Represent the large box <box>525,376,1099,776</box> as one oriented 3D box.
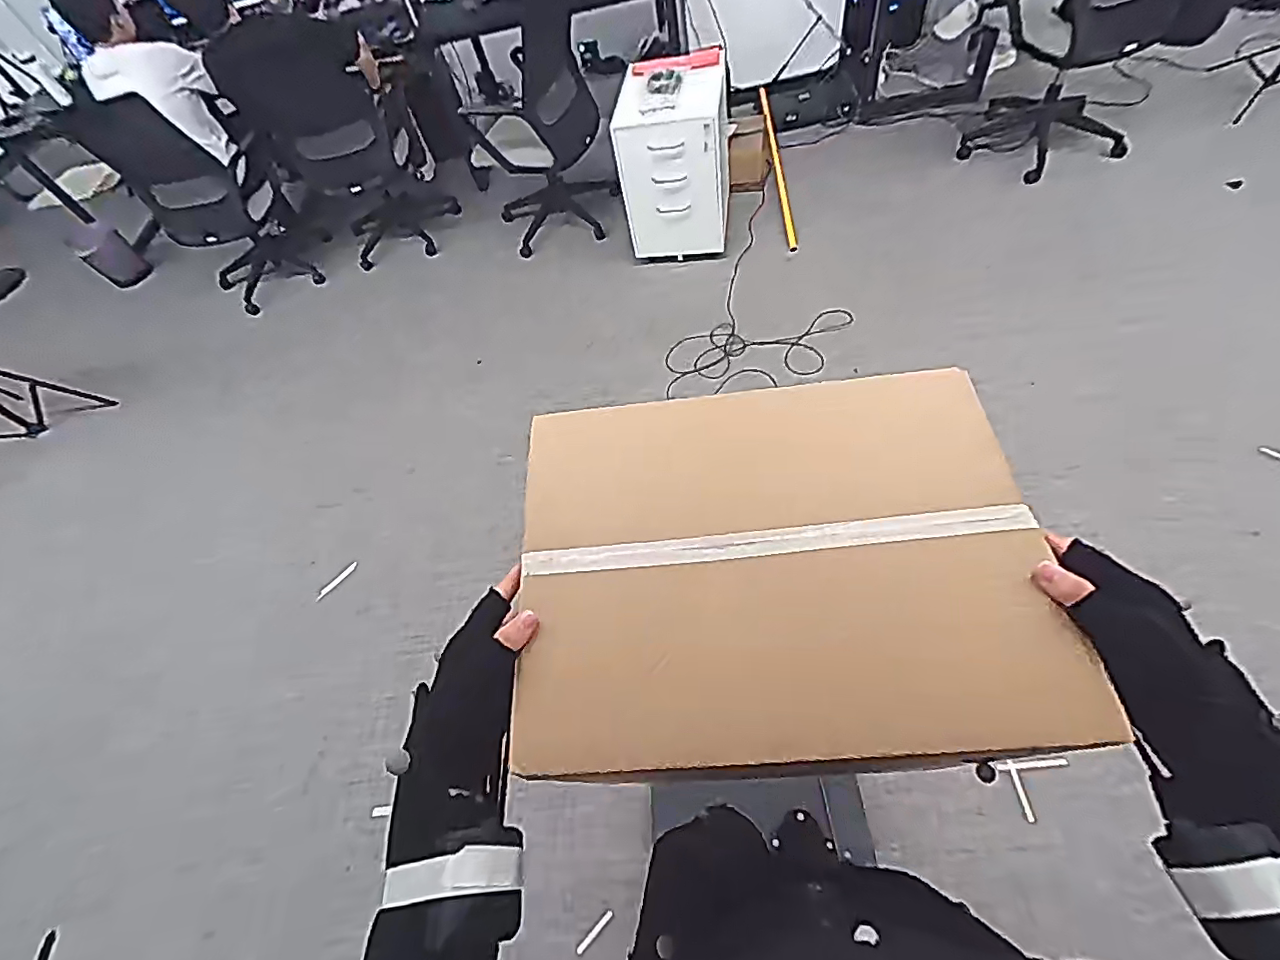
[{"bbox_3d":[0.125,0.128,0.577,0.408,0.320,0.320,-6,59,5],"label":"large box"}]
